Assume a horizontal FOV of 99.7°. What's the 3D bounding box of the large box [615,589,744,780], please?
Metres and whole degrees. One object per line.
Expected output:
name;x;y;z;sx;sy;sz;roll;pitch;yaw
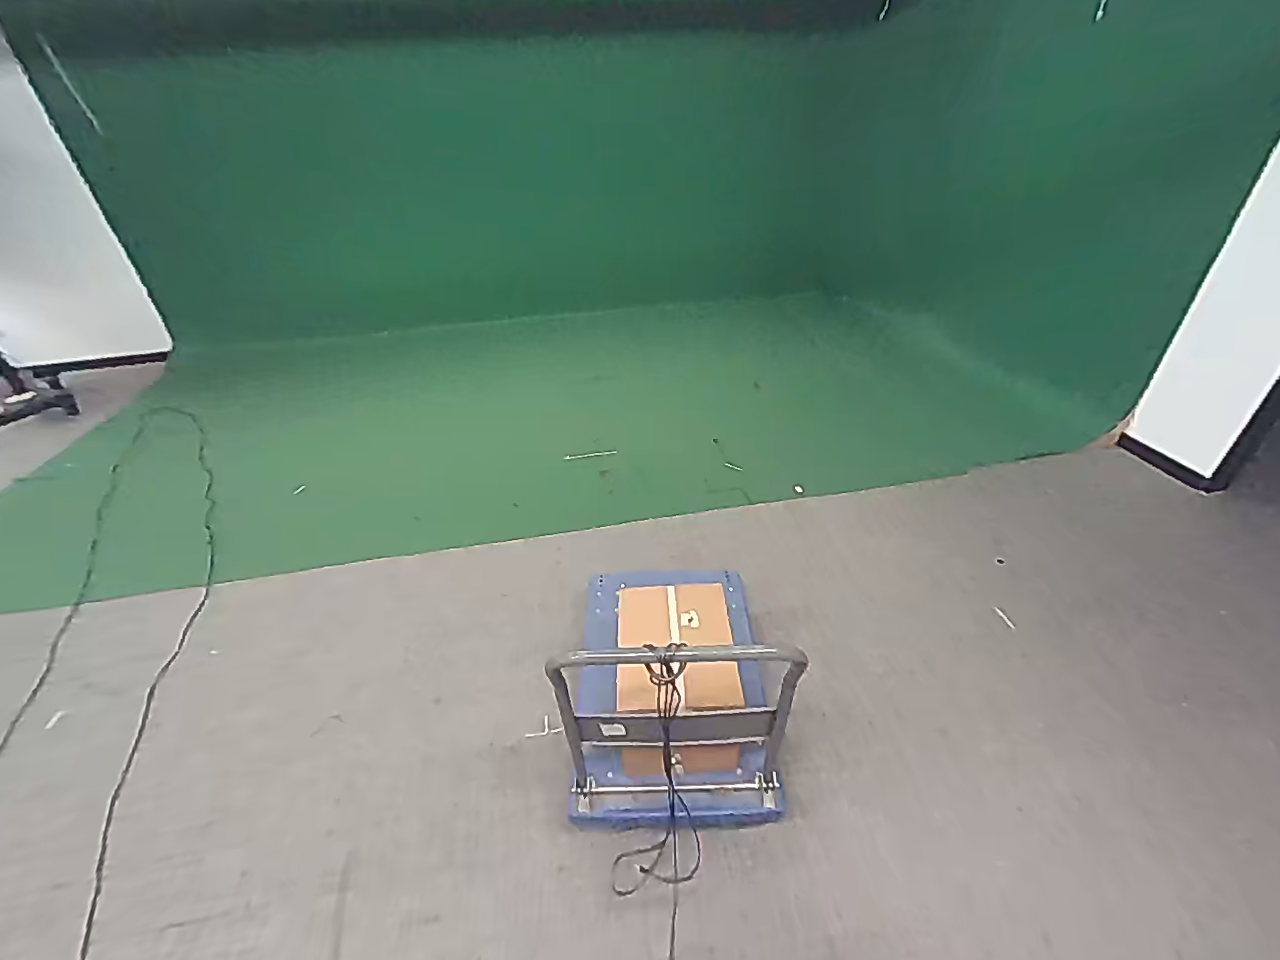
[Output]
large box;0.101;0.567;1.532;0.320;0.320;0.408;-2;35;1
